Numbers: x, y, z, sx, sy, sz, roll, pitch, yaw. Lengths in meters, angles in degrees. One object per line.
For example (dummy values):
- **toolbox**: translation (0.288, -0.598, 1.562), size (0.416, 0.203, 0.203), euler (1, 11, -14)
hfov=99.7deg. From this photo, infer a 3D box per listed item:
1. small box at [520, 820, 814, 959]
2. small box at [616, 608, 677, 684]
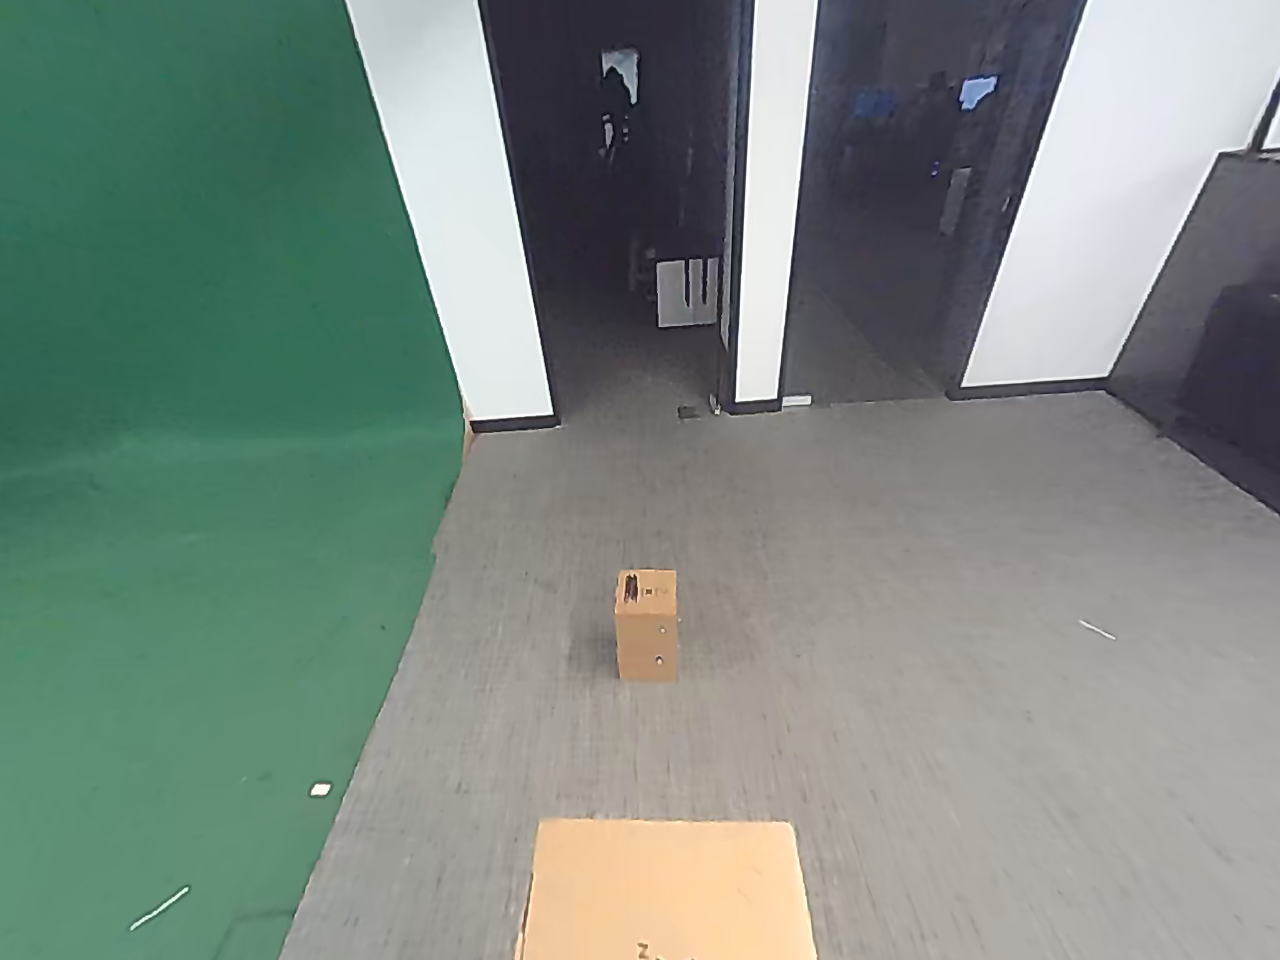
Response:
- **small box**: translation (0.017, 0.348, 0.363), size (0.179, 0.176, 0.168), euler (-1, 41, 1)
- **small box**: translation (0.026, 0.523, 1.701), size (0.179, 0.176, 0.168), euler (0, 37, 6)
